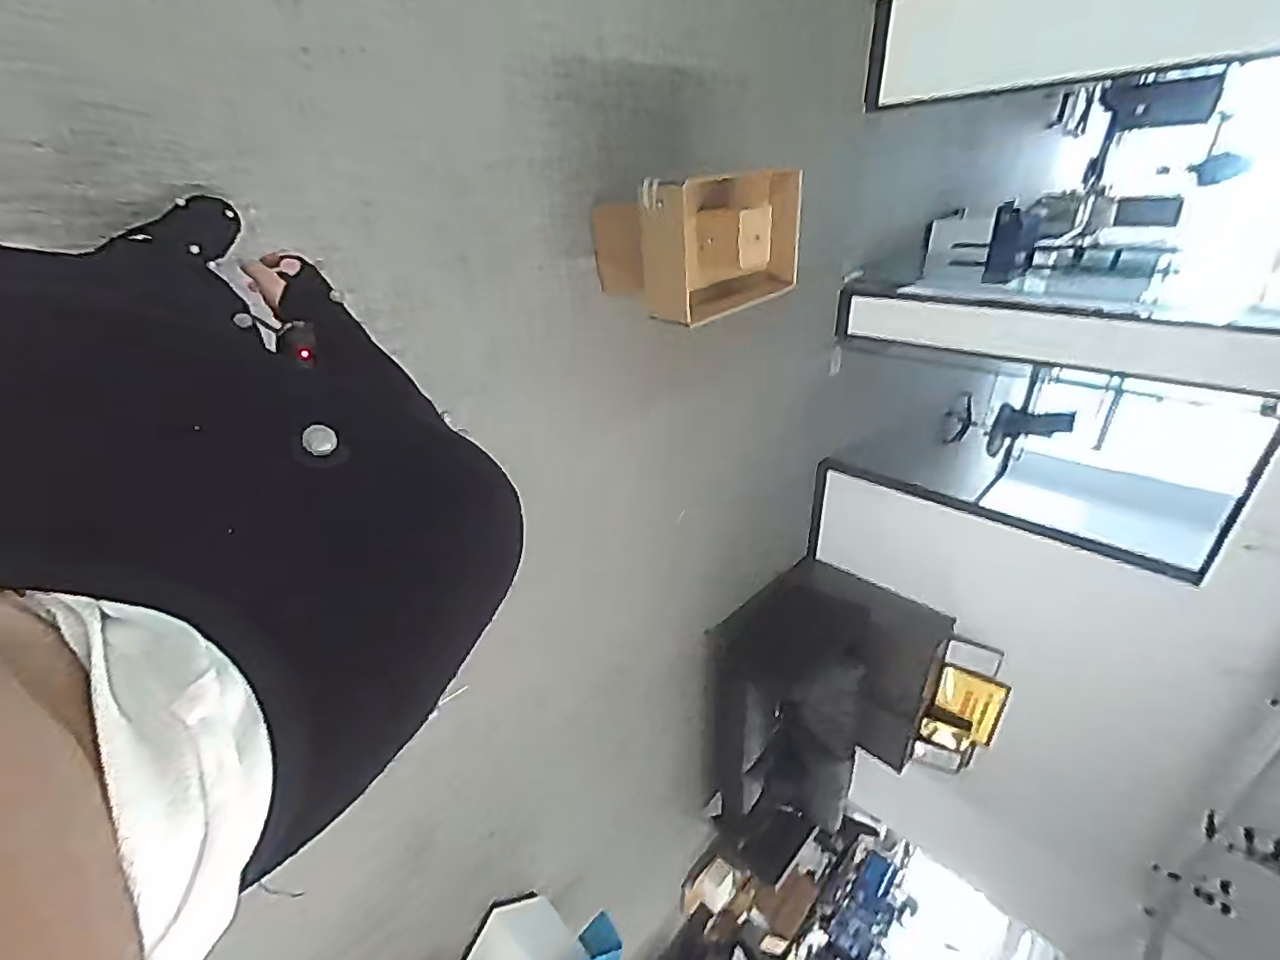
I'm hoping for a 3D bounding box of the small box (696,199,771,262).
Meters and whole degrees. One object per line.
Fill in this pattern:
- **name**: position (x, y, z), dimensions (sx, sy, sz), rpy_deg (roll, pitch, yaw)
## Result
- **small box**: position (0.299, -0.803, 1.732), dimensions (0.179, 0.176, 0.168), rpy_deg (-31, 128, -37)
